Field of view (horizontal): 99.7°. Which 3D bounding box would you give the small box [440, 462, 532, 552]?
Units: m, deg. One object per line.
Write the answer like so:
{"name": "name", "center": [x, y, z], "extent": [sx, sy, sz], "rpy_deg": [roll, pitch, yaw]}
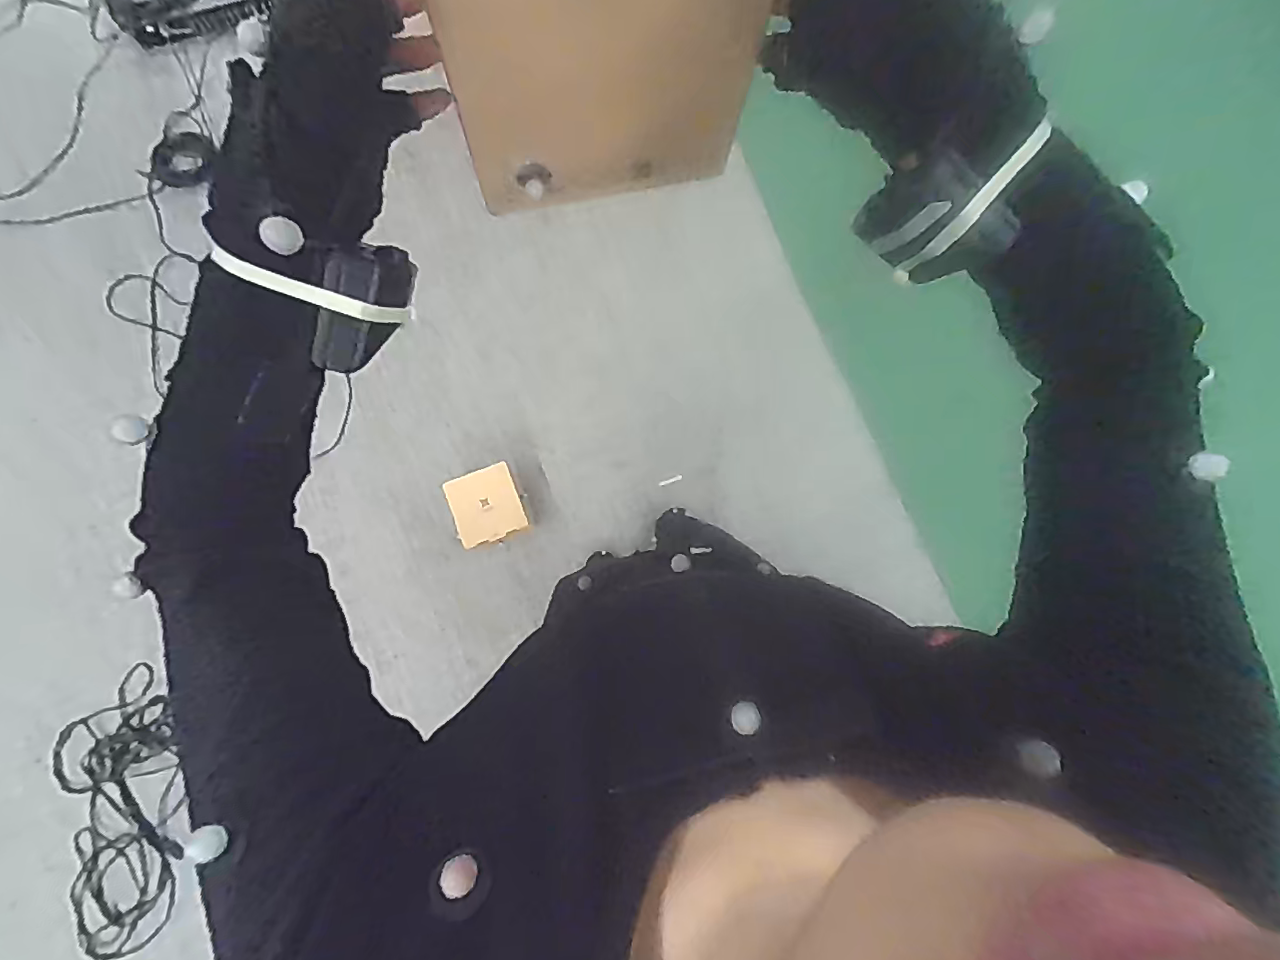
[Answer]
{"name": "small box", "center": [-0.390, 0.076, 1.394], "extent": [0.168, 0.176, 0.179], "rpy_deg": [-21, 82, -7]}
